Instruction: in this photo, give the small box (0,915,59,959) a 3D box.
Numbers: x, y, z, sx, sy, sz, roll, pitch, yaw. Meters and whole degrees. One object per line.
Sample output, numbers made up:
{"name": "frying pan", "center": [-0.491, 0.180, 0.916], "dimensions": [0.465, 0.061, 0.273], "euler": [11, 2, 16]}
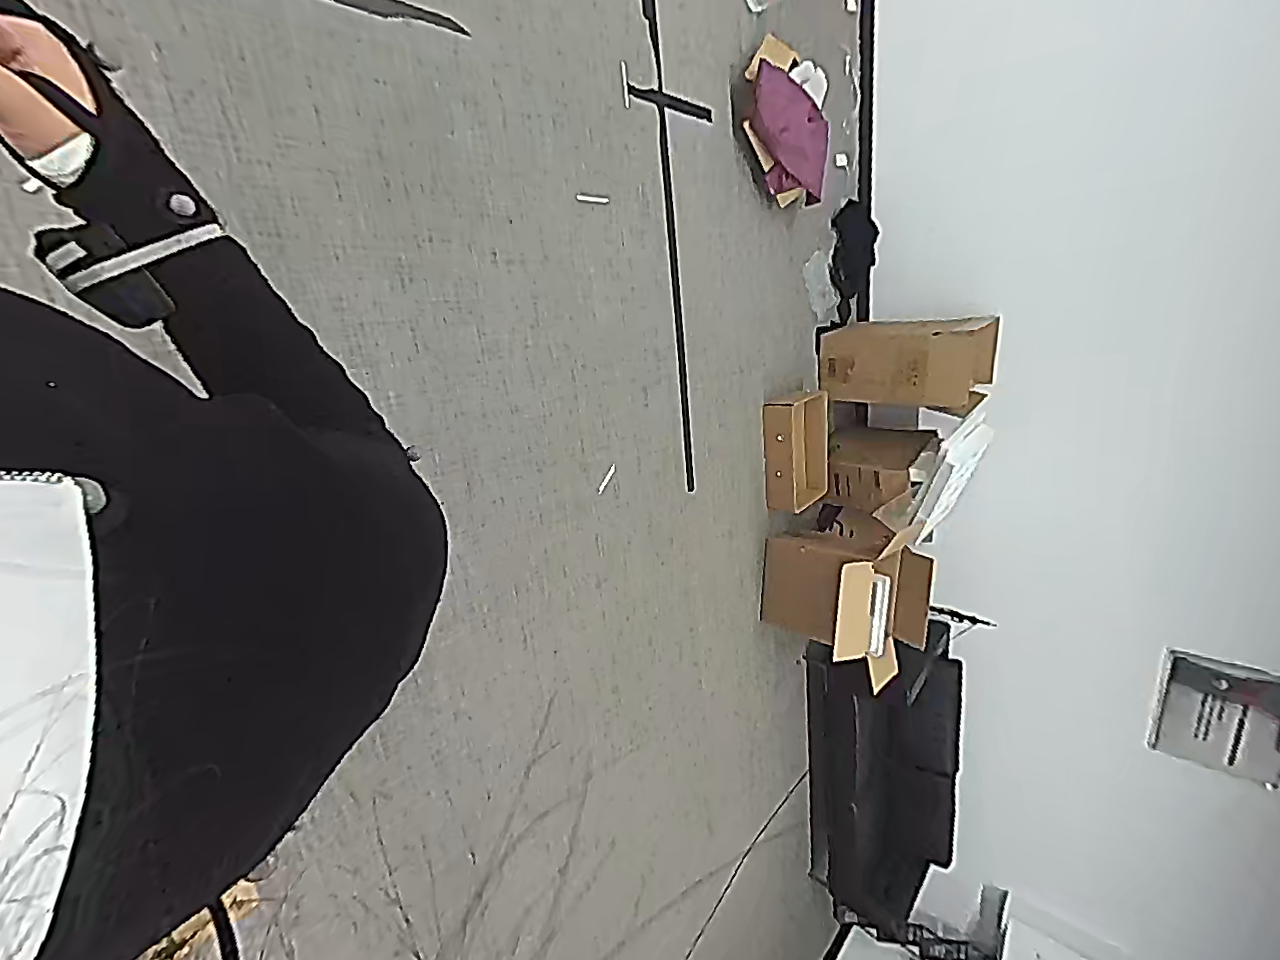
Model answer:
{"name": "small box", "center": [-0.720, 0.622, 0.559], "dimensions": [0.168, 0.176, 0.179], "euler": [-13, 106, -44]}
